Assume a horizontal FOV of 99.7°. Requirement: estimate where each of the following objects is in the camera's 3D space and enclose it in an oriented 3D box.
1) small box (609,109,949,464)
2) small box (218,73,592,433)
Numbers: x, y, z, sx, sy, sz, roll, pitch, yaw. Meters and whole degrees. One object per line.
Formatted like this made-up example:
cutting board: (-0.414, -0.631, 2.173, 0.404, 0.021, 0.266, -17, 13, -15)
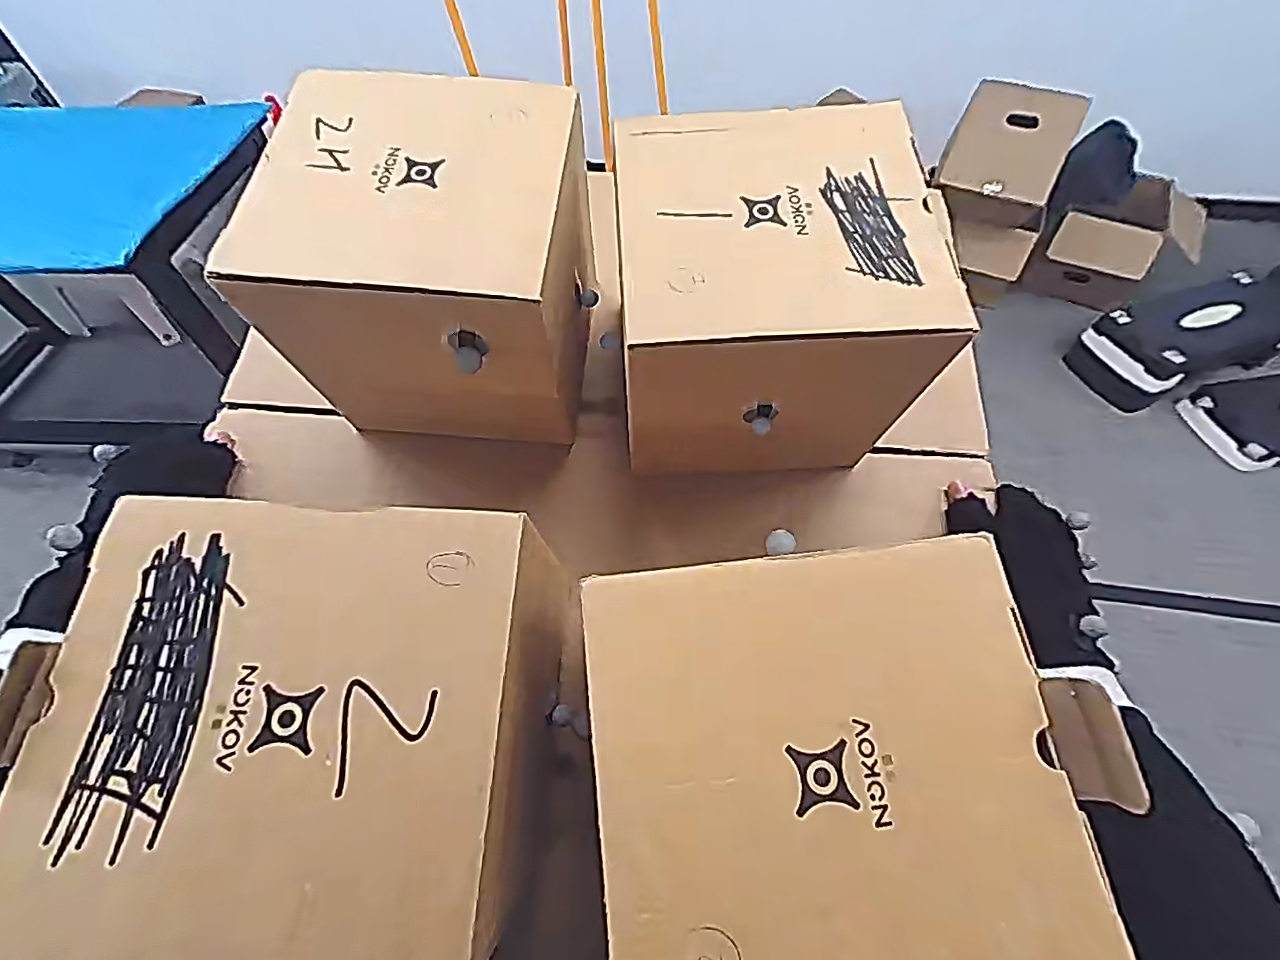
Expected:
small box: (0.070, -0.120, 0.379, 0.179, 0.176, 0.168, -3, 68, 0)
small box: (-0.133, -0.146, 0.389, 0.179, 0.176, 0.168, 5, 67, 2)
